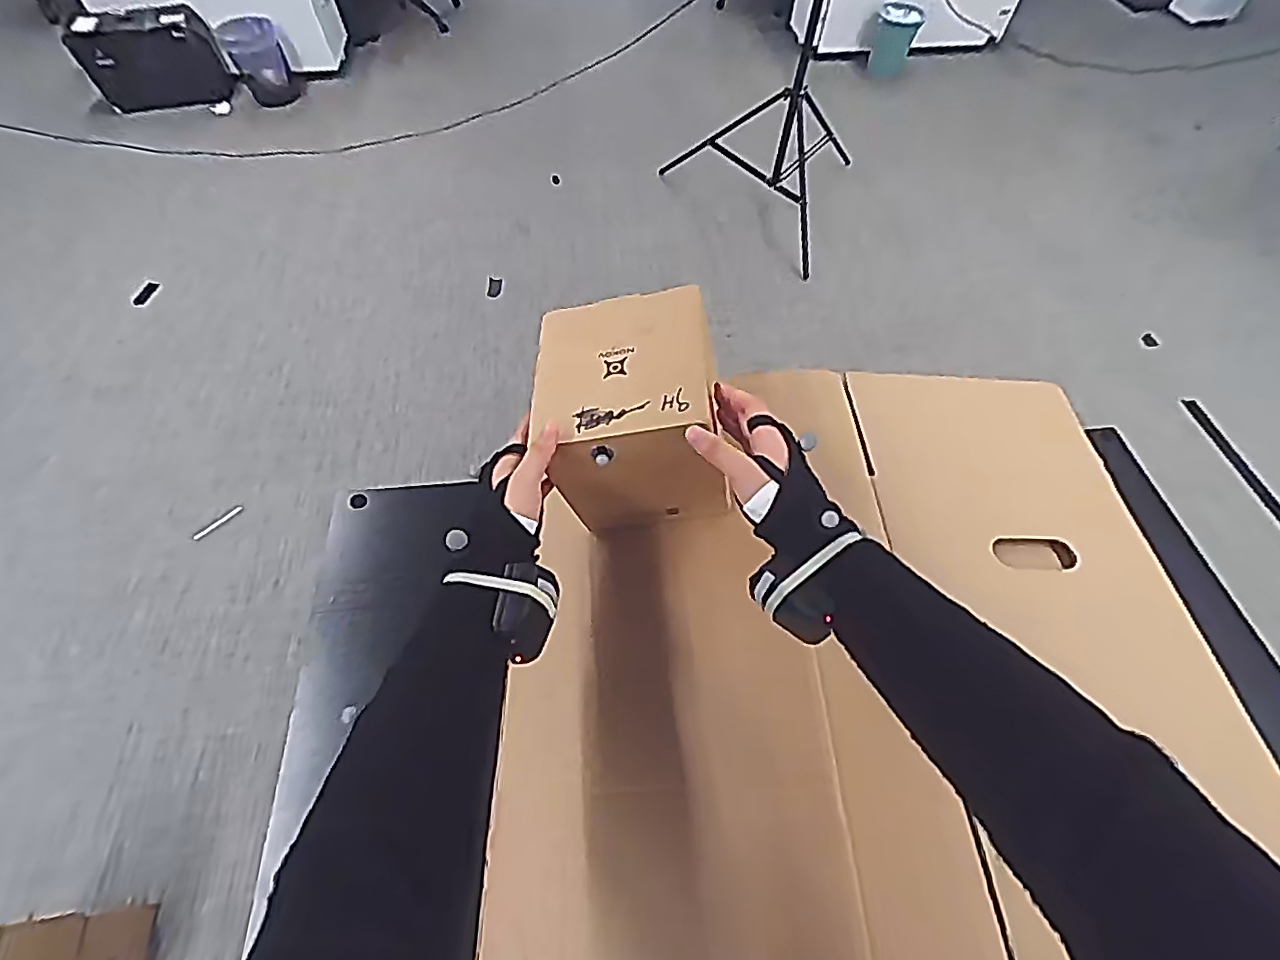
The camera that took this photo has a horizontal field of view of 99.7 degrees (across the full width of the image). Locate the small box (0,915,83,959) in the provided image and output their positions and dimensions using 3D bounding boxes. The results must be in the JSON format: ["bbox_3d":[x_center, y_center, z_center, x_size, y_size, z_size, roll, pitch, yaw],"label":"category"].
[{"bbox_3d":[-1.049,0.824,0.849,0.168,0.176,0.179,-11,58,-9],"label":"small box"}]

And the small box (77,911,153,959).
[{"bbox_3d":[-1.049,0.913,0.985,0.168,0.176,0.179,-8,60,-6],"label":"small box"}]

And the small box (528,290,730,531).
[{"bbox_3d":[-0.001,-0.066,0.574,0.168,0.176,0.179,-8,56,12],"label":"small box"}]
